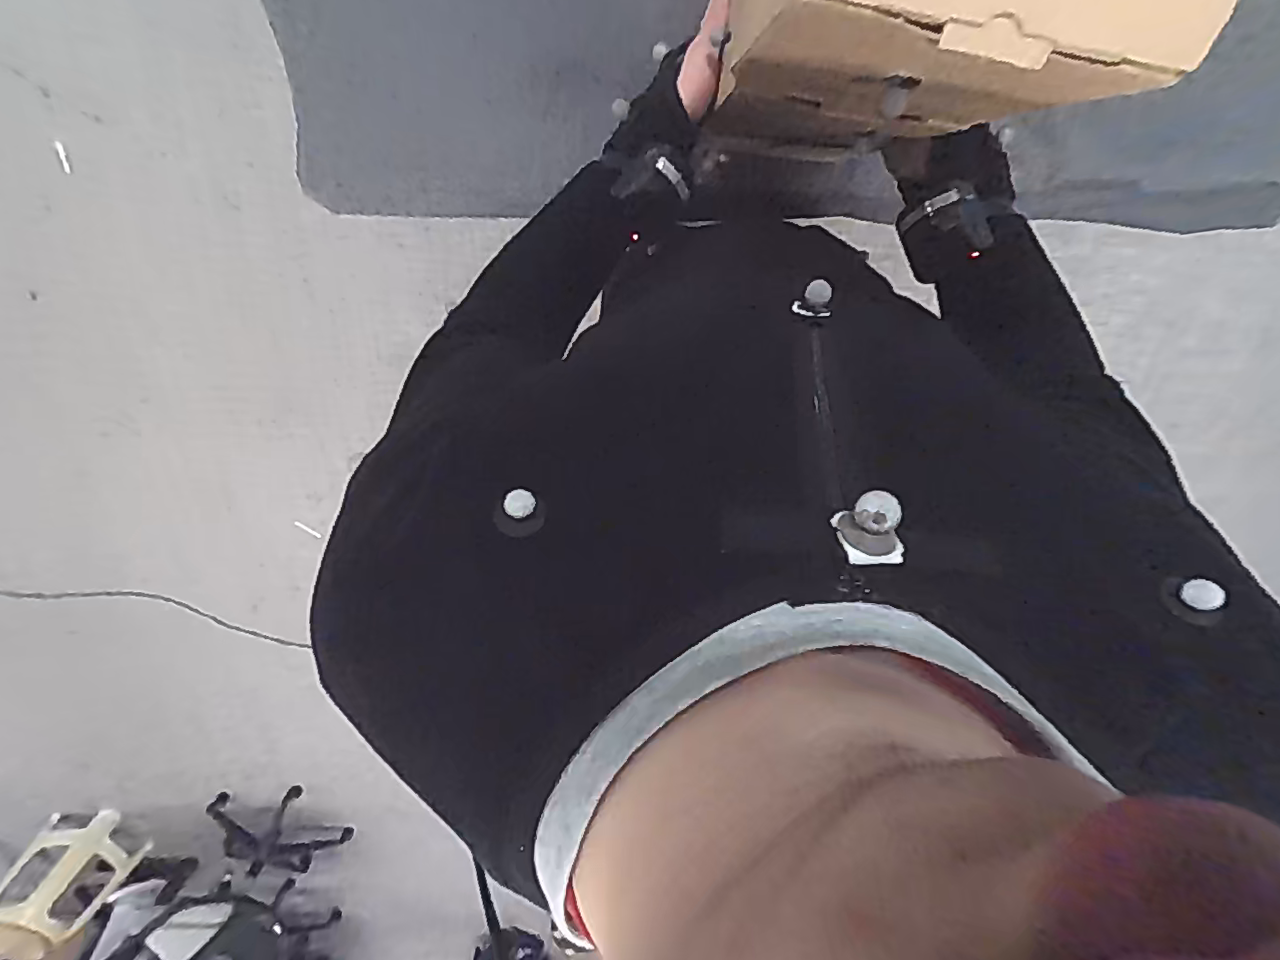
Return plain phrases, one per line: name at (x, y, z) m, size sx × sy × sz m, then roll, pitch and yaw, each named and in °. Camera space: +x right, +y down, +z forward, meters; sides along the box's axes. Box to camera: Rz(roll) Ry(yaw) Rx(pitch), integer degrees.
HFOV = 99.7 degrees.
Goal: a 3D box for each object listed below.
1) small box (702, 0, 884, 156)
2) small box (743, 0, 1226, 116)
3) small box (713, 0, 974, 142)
small box at (0.156, -0.428, 0.530) m, size 0.168 × 0.176 × 0.179 m, roll 5°, pitch 117°, yaw -1°
small box at (0.151, -0.281, 0.239) m, size 0.168 × 0.176 × 0.179 m, roll 9°, pitch 119°, yaw -5°
small box at (0.151, -0.356, 0.385) m, size 0.168 × 0.176 × 0.179 m, roll 6°, pitch 117°, yaw -3°
